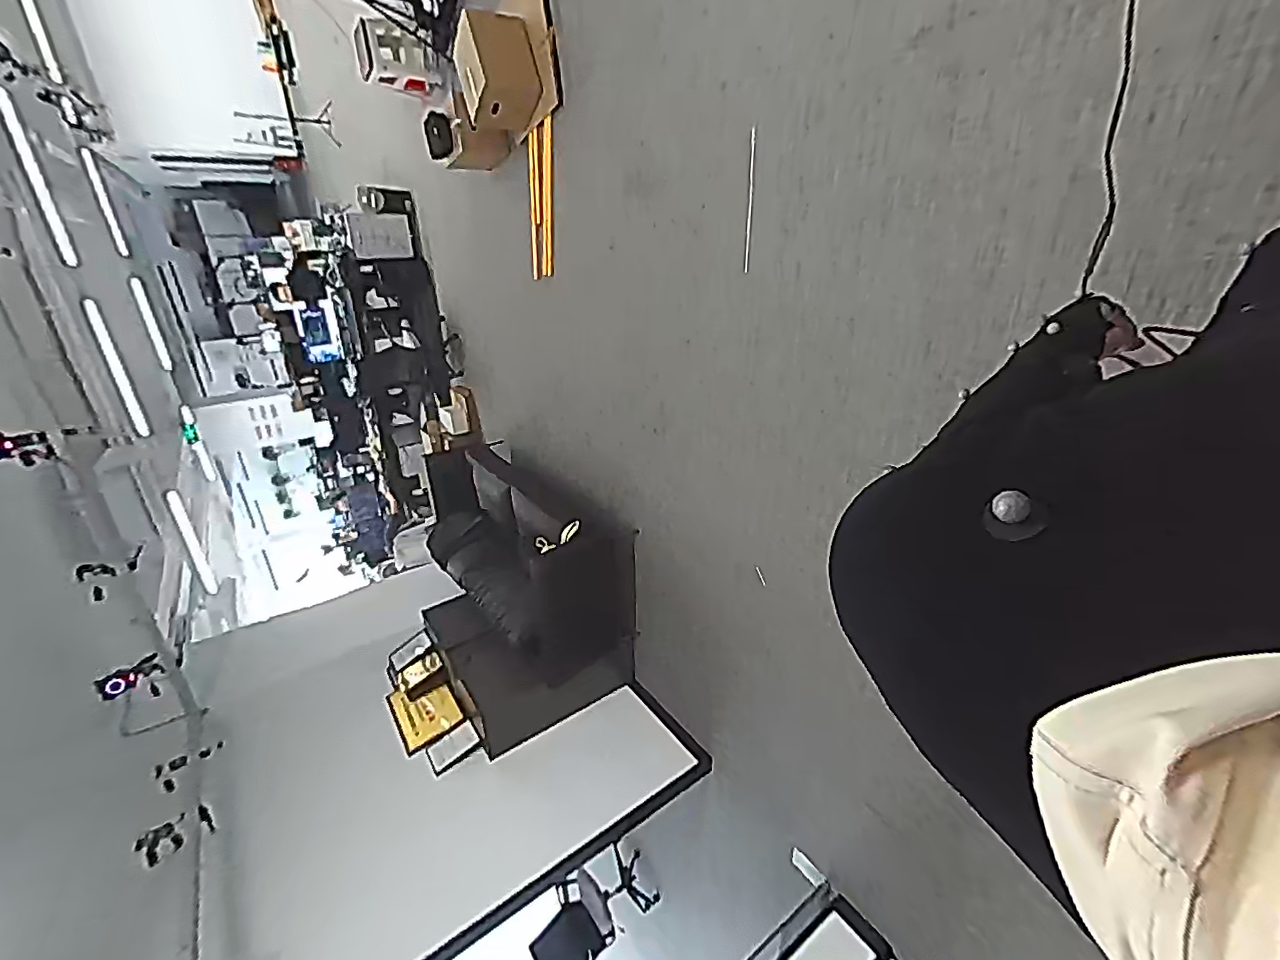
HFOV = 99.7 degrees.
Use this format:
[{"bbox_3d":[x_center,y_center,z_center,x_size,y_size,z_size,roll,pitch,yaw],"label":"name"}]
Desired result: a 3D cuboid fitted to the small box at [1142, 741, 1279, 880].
[{"bbox_3d":[1.309,0.743,1.229,0.168,0.176,0.179,35,134,45],"label":"small box"}]
